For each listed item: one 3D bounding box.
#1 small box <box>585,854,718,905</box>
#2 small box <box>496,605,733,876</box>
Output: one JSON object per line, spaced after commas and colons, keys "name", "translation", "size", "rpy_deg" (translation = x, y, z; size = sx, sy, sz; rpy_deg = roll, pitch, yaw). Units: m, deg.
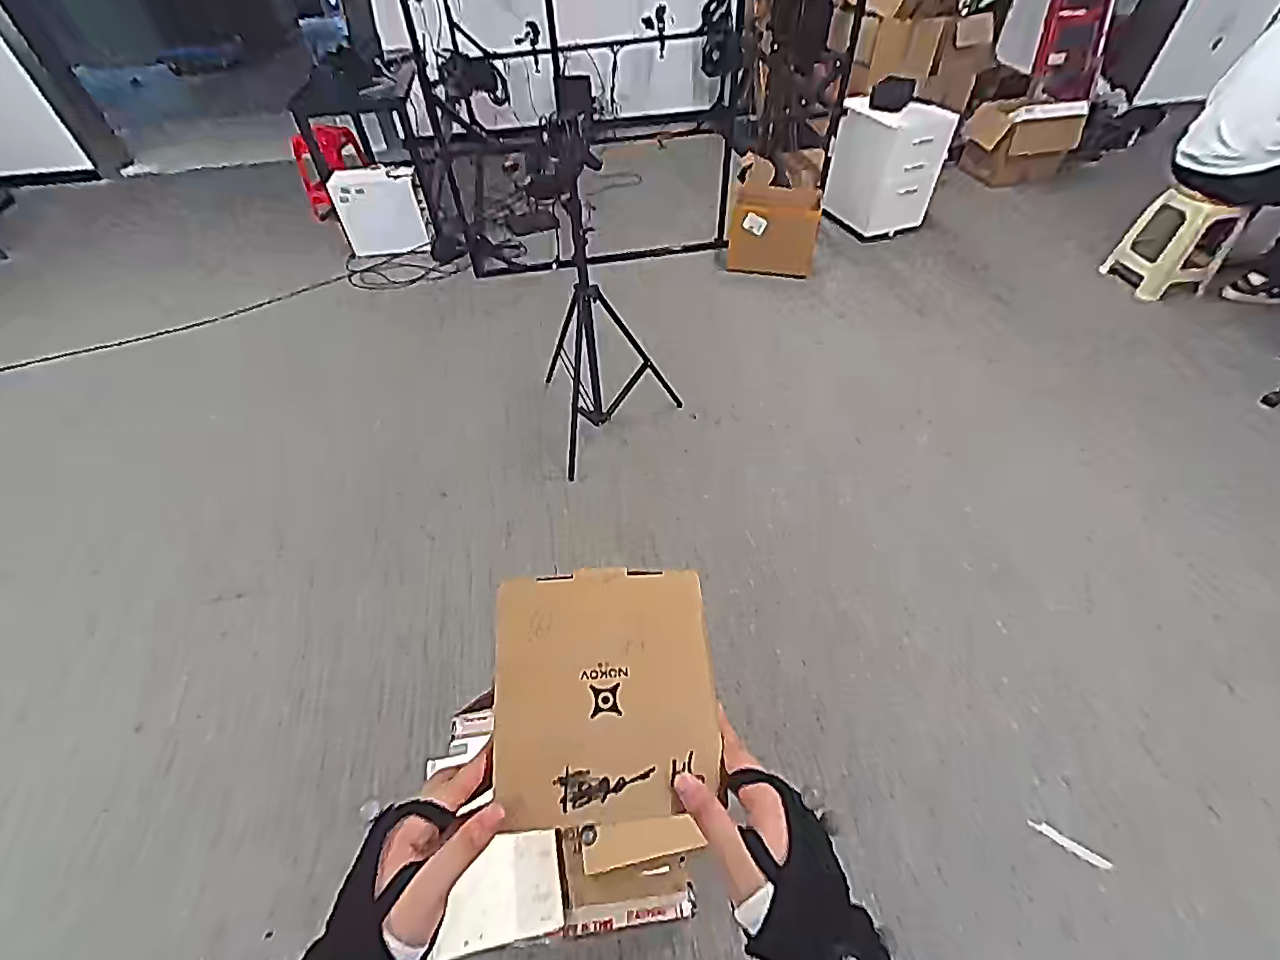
{"name": "small box", "translation": [0.002, 0.511, 0.809], "size": [0.179, 0.176, 0.168], "rpy_deg": [-10, 49, -8]}
{"name": "small box", "translation": [-0.030, 0.218, 0.474], "size": [0.168, 0.176, 0.179], "rpy_deg": [-2, 65, -7]}
